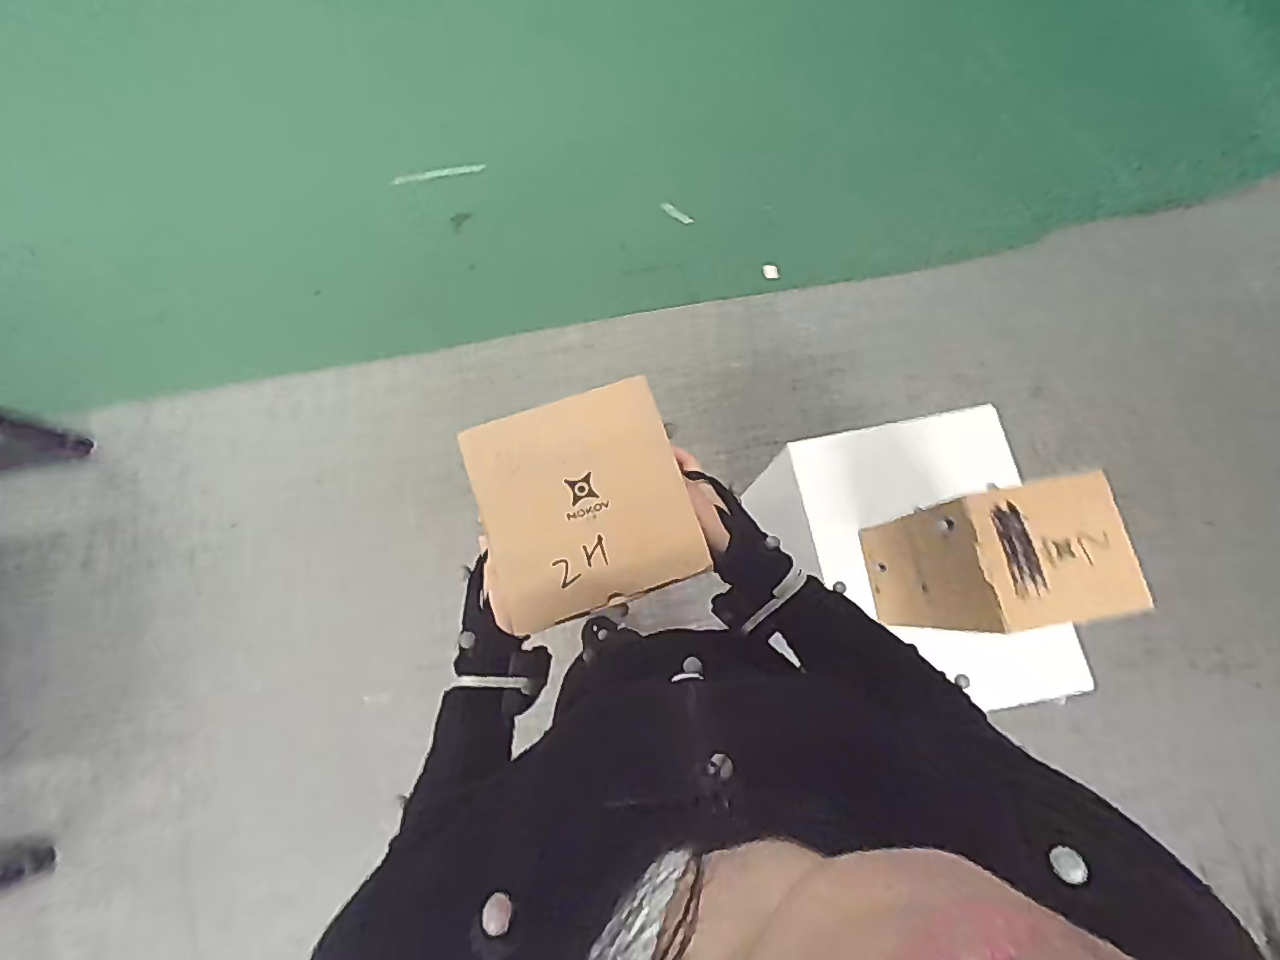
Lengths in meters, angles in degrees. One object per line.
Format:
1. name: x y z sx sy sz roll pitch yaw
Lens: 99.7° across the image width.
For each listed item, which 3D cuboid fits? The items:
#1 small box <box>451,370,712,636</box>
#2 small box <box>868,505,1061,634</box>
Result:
1. small box: -0.051 0.029 0.497 0.168 0.176 0.179 -19 80 -6
2. small box: 0.487 0.141 0.839 0.179 0.176 0.168 -8 76 -2
